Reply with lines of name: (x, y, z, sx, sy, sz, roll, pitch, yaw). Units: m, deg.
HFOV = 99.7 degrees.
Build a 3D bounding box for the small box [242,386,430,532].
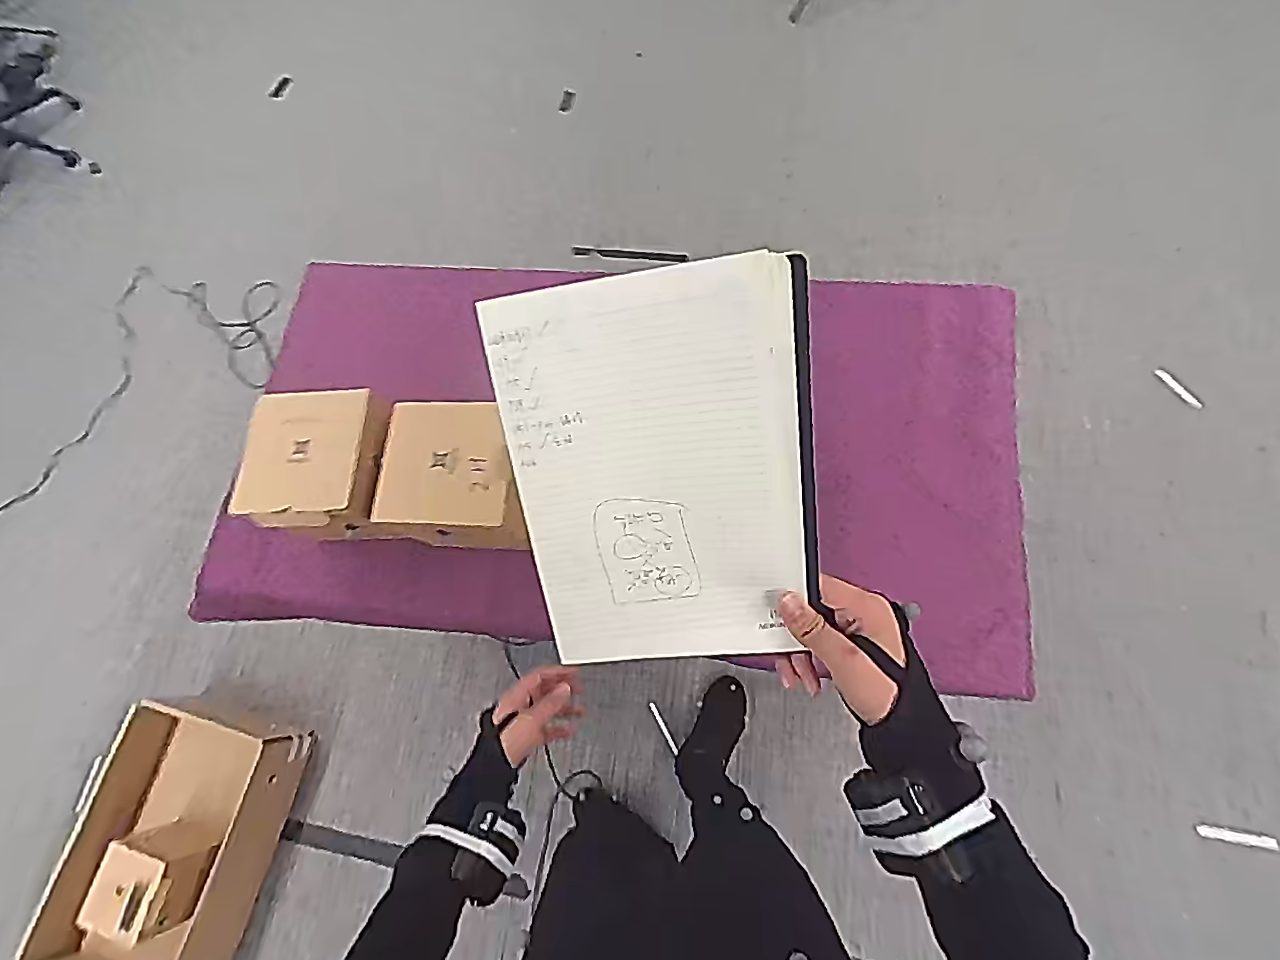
small box: (-0.432, -0.021, 0.799, 0.168, 0.176, 0.179, -1, 72, 6)
